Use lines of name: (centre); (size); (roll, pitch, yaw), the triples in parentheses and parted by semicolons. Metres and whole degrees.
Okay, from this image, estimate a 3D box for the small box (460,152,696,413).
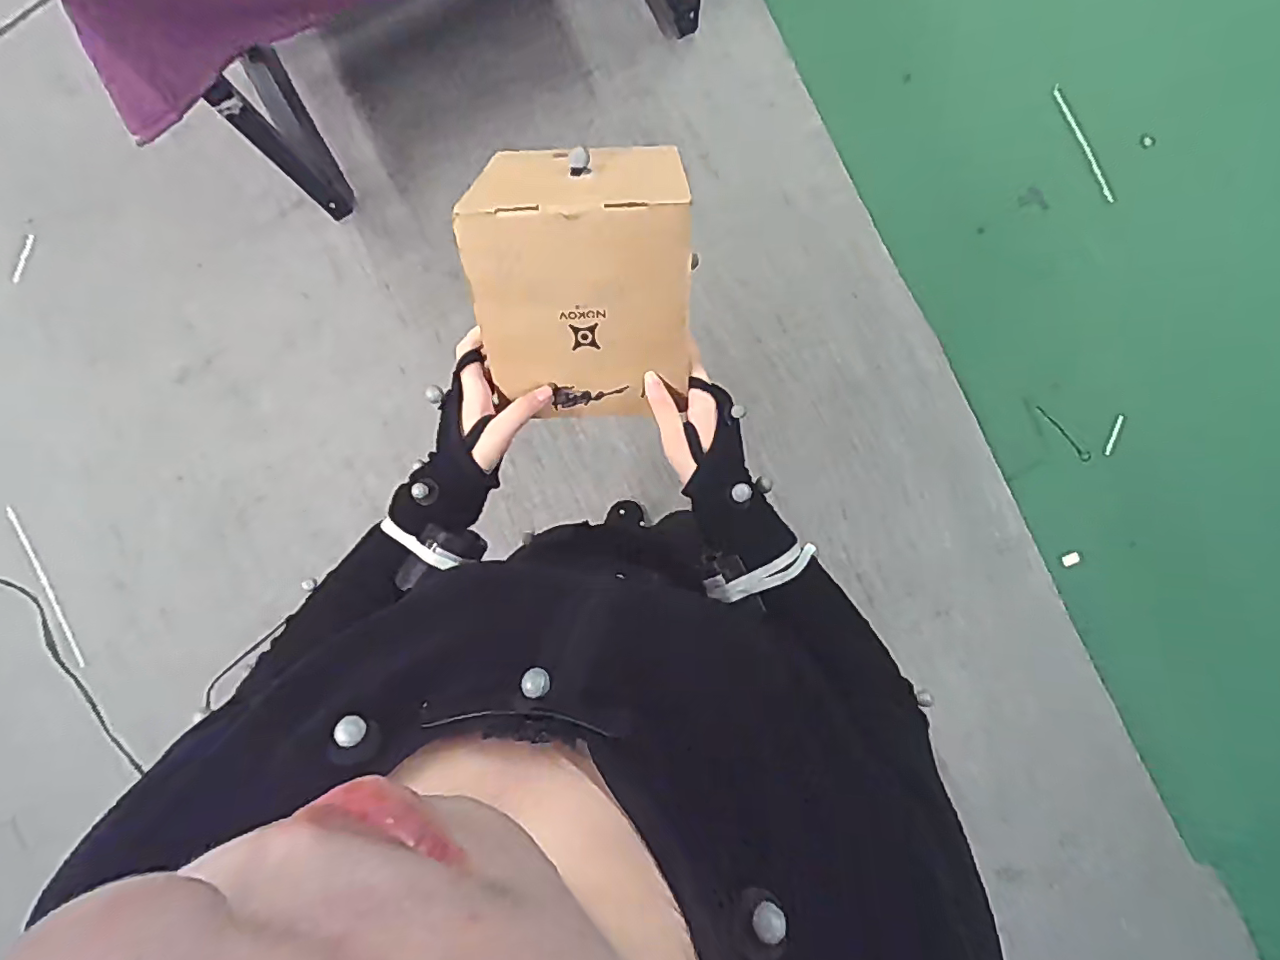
small box: (-0.043, -0.180, 0.482); (0.168, 0.176, 0.179); (-1, 133, 1)
